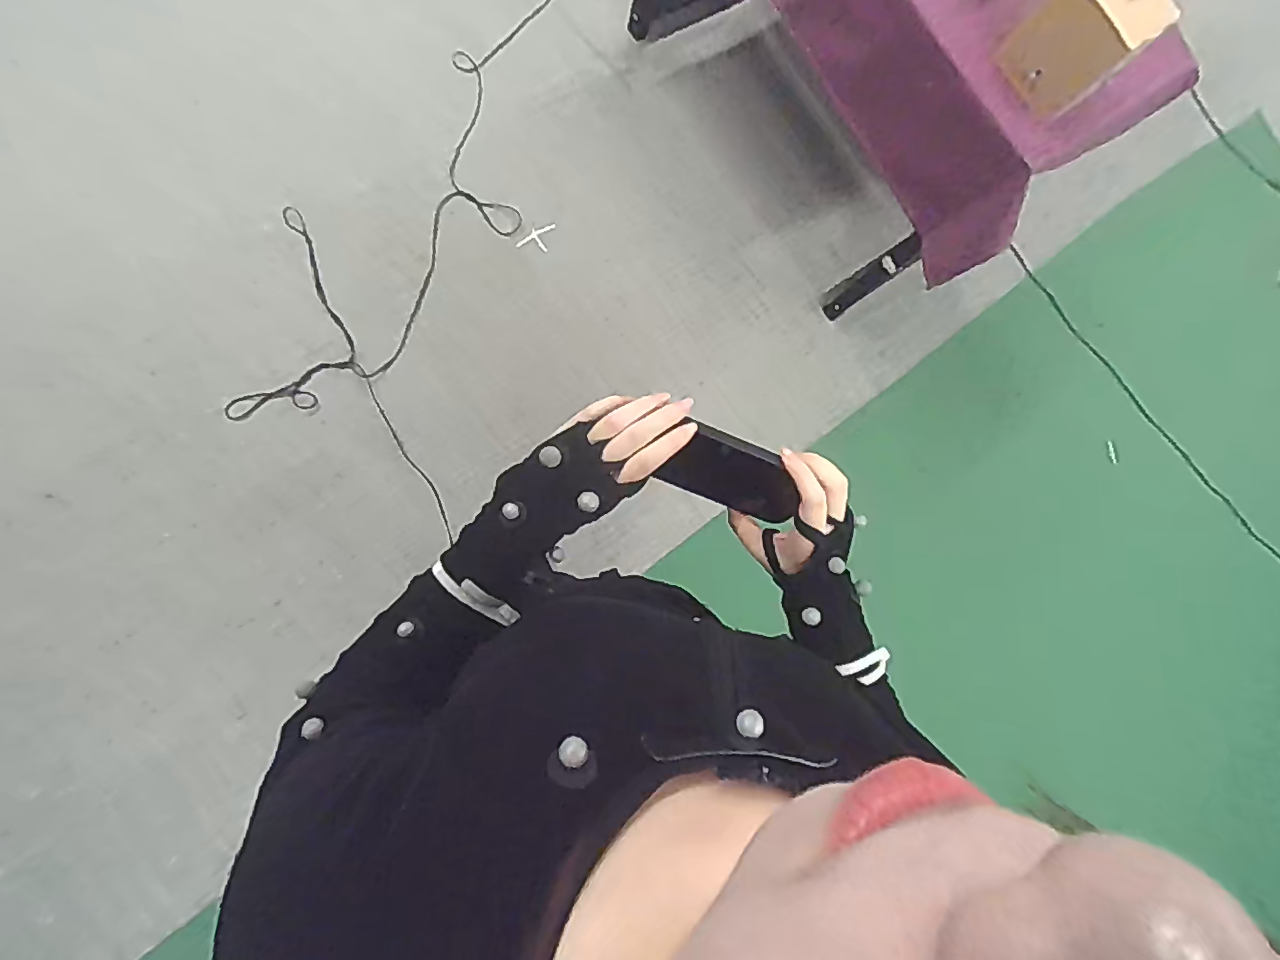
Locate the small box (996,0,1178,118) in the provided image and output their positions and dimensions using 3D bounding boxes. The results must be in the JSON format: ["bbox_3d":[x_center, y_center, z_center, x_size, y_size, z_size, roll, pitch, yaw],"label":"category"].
[{"bbox_3d":[0.835,-0.832,1.024,0.168,0.176,0.179,-36,90,-15],"label":"small box"}]
